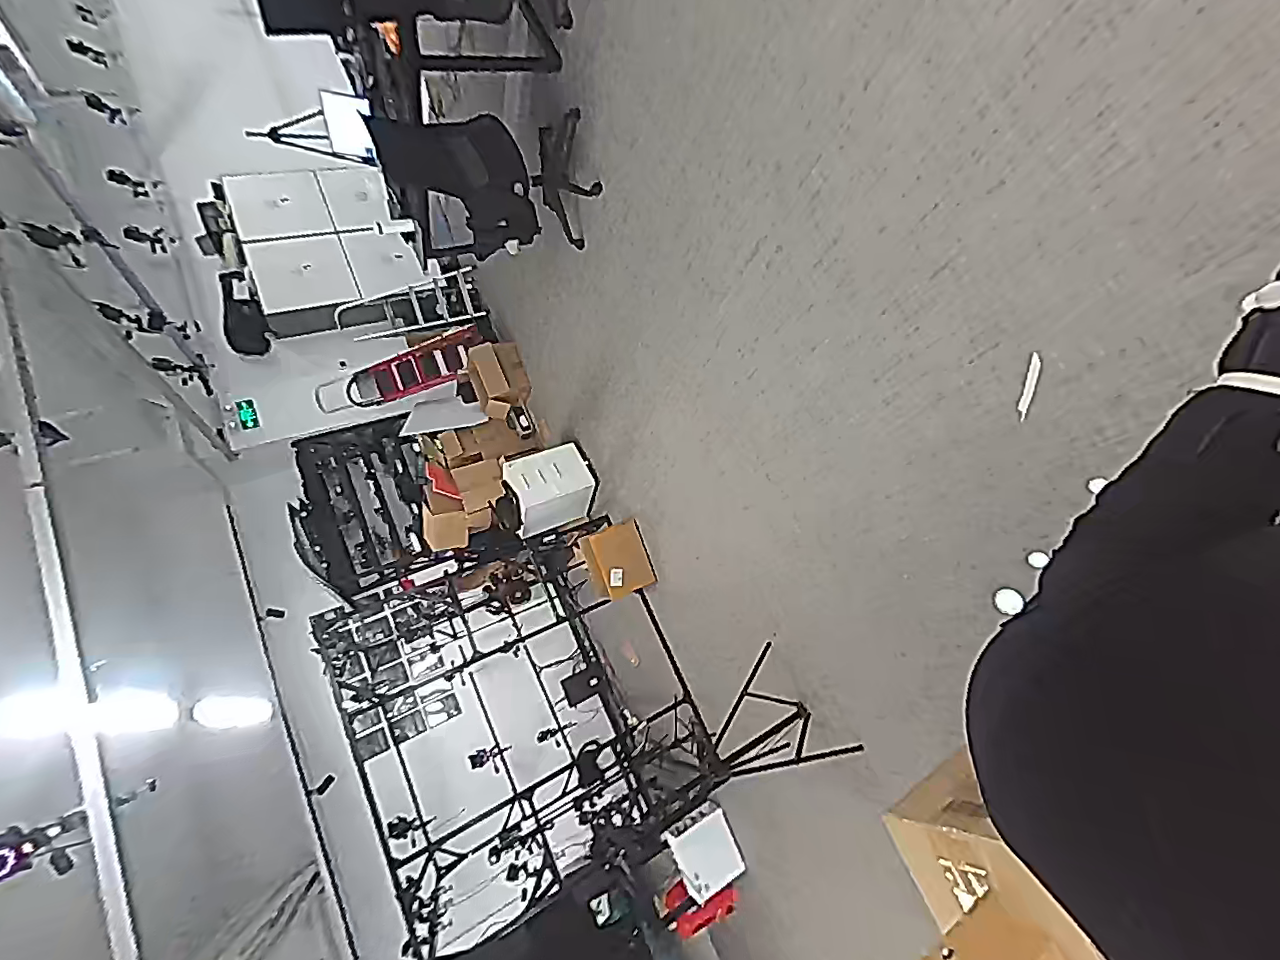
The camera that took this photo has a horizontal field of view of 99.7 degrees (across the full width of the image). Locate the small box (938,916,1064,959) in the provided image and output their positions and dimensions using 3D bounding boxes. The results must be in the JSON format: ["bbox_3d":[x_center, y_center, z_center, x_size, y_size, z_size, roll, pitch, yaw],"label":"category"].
[{"bbox_3d":[0.666,0.933,0.962,0.168,0.176,0.179,64,156,12],"label":"small box"}]
